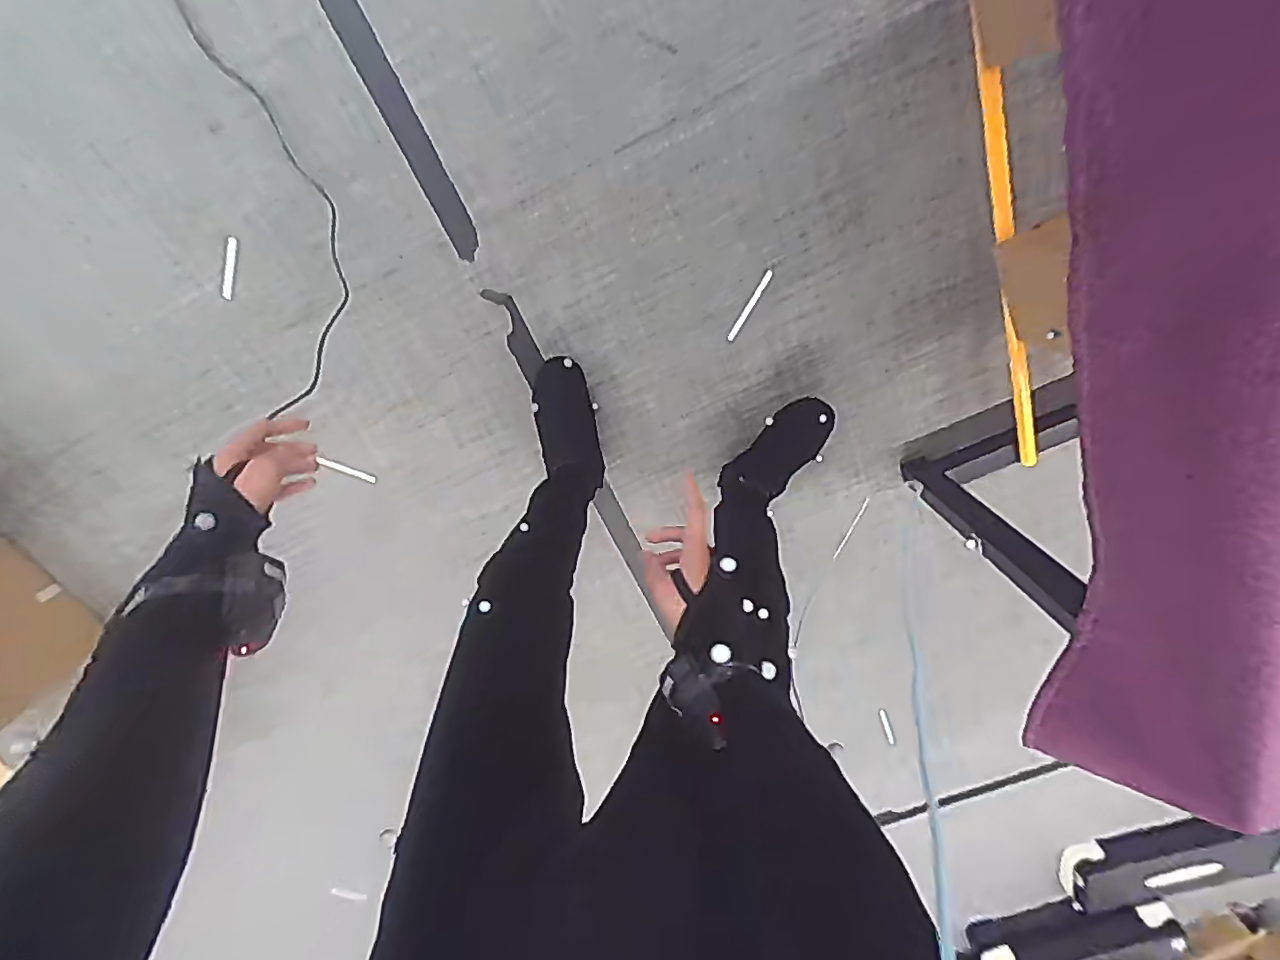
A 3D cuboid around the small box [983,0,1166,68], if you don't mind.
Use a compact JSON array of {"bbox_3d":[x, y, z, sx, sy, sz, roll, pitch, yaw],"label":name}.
[{"bbox_3d":[0.526,-0.628,0.629,0.168,0.176,0.179,-25,118,9],"label":"small box"}]
